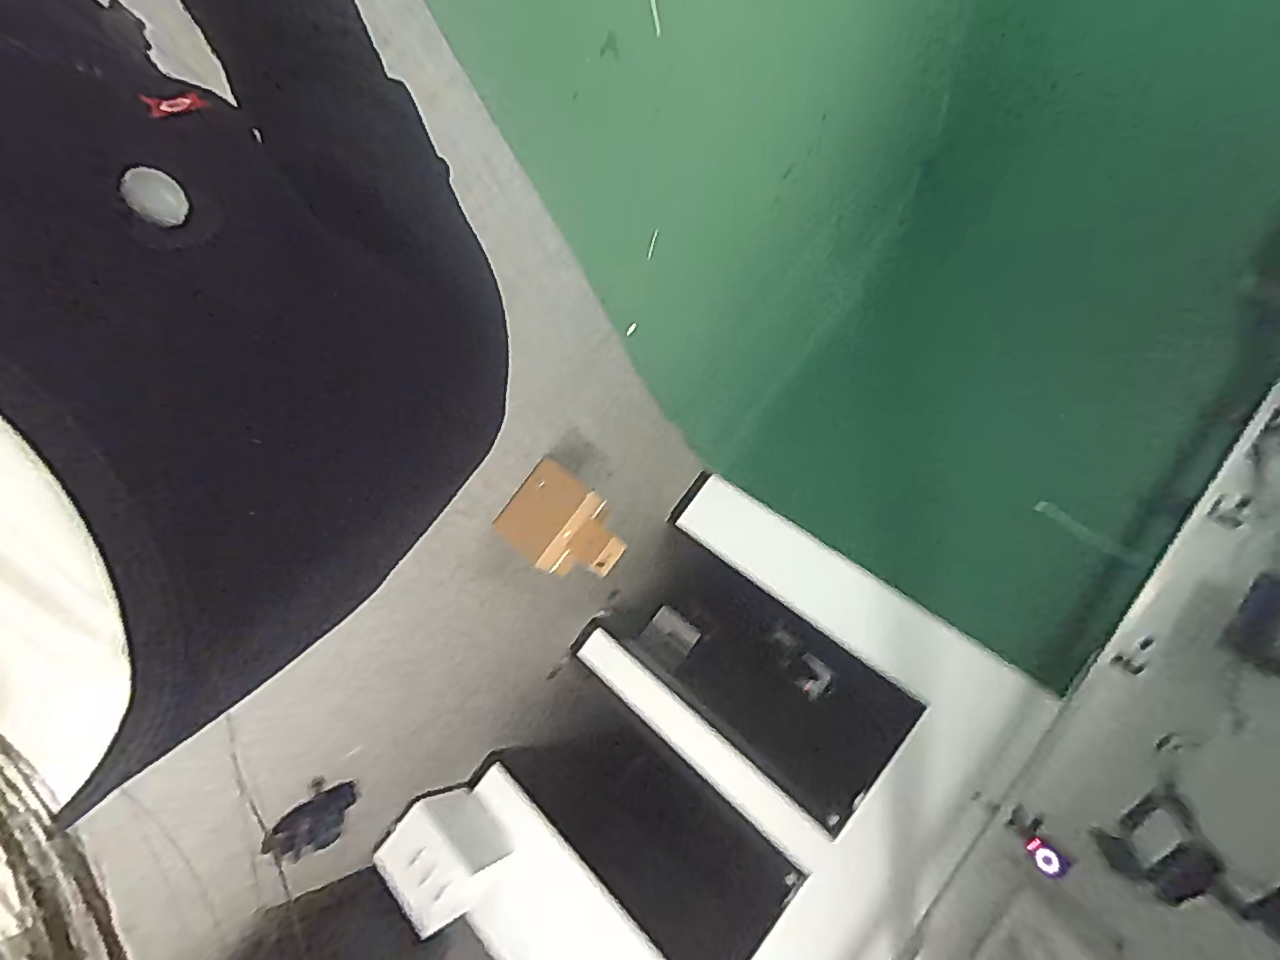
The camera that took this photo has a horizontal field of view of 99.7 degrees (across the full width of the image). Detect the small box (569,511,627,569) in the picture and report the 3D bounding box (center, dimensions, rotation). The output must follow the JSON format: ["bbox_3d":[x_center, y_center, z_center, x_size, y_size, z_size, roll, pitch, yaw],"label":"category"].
[{"bbox_3d":[-0.198,0.272,2.457,0.179,0.176,0.168,-52,149,-3],"label":"small box"}]
